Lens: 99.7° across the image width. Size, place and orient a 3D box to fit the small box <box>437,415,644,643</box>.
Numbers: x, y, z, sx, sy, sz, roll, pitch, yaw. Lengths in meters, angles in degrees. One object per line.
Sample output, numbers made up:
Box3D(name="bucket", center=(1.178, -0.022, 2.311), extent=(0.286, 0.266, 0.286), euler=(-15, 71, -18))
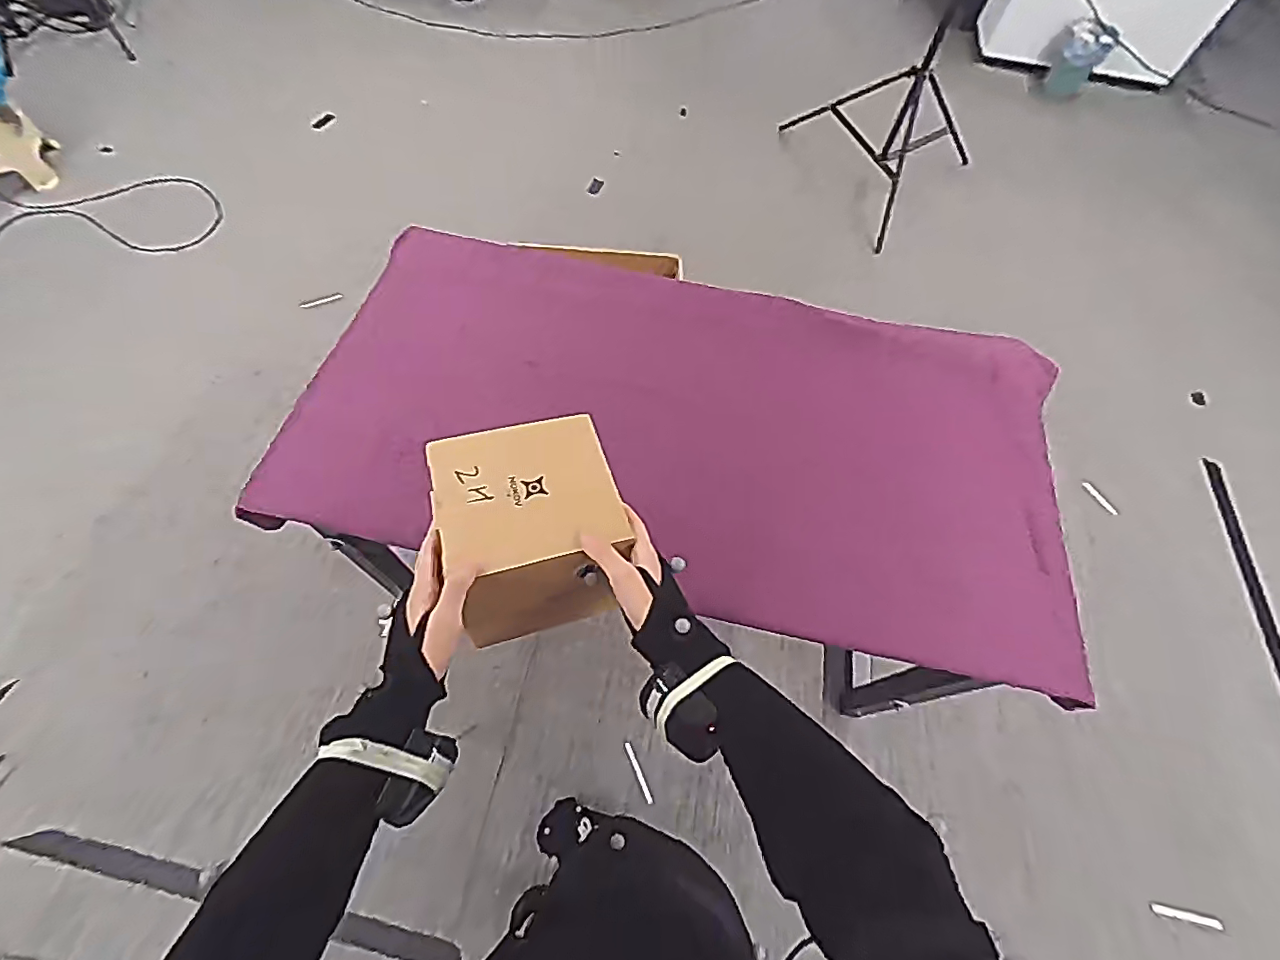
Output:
Box3D(name="small box", center=(-0.109, 0.056, 0.592), extent=(0.179, 0.176, 0.168), euler=(-12, 56, -14))
